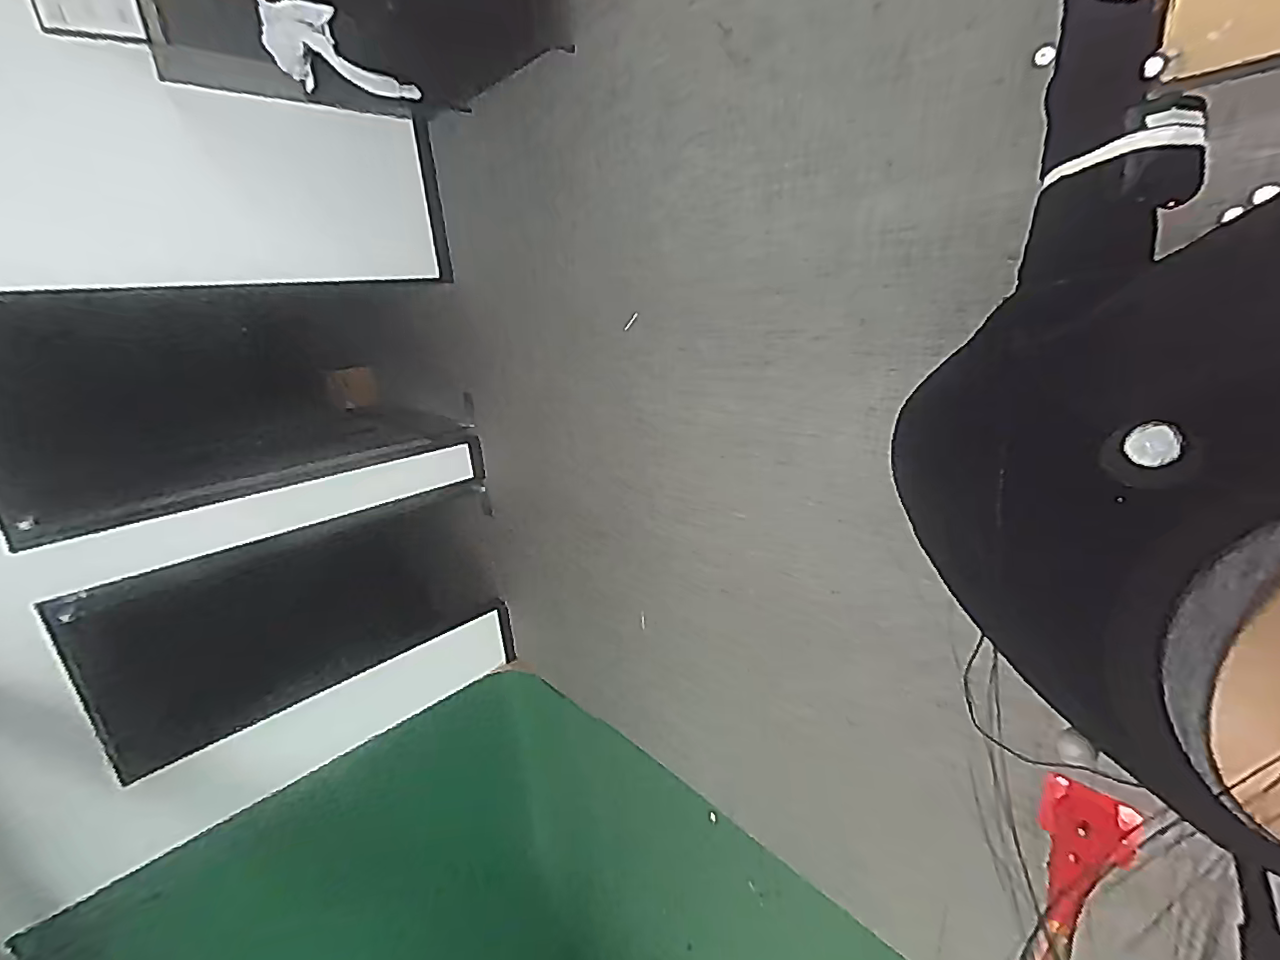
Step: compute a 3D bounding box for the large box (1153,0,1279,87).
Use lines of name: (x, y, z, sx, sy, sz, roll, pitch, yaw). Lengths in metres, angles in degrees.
large box: (0.589, -0.469, 0.303, 0.408, 0.320, 0.320, 9, 122, 40)
